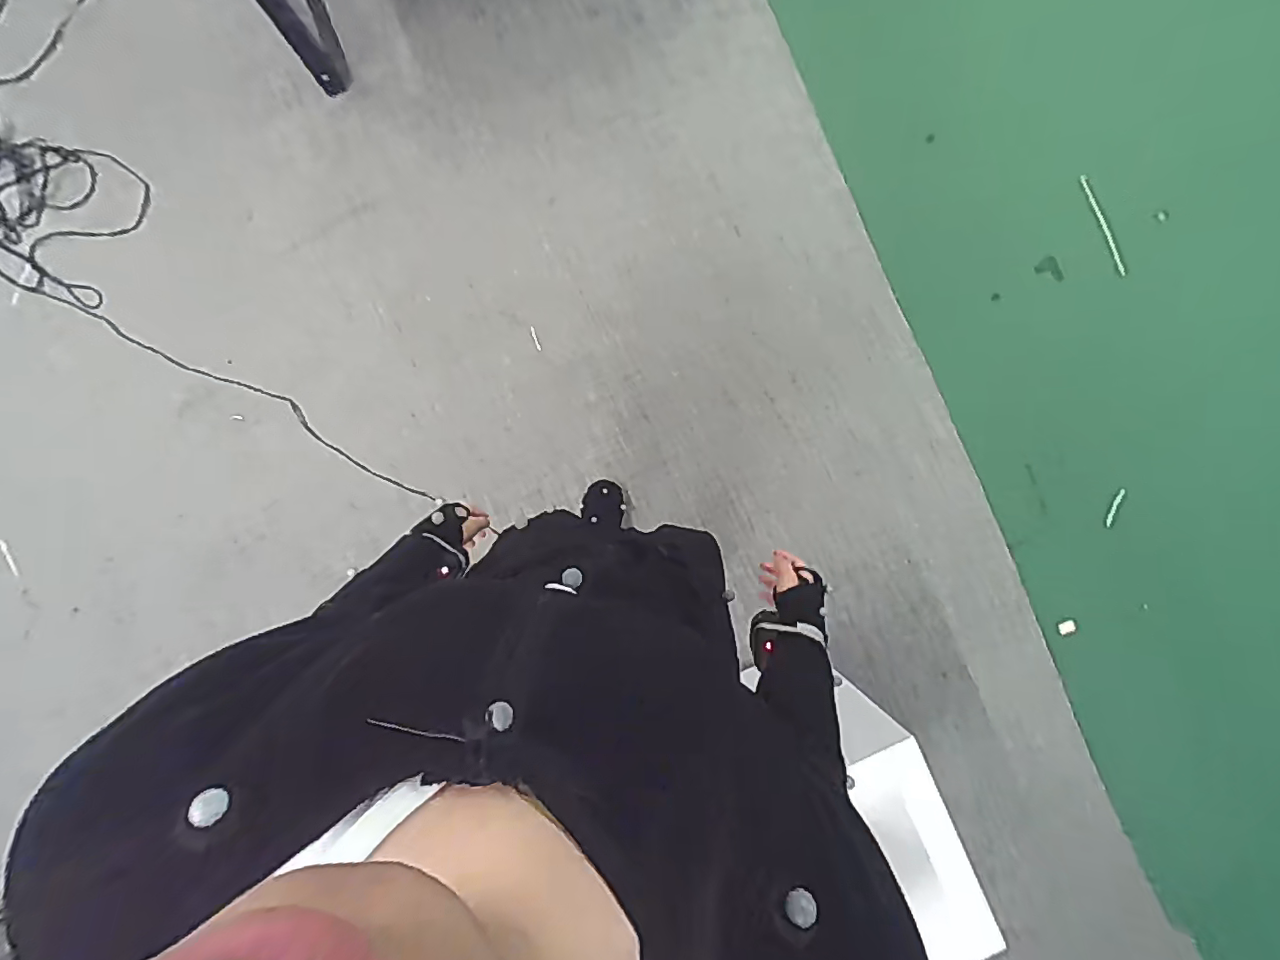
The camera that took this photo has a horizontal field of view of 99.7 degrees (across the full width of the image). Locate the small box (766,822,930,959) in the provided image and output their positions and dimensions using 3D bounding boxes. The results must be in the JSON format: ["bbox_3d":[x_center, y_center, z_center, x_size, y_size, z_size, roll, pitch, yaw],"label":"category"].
[{"bbox_3d":[0.313,0.671,0.816,0.168,0.176,0.179,-24,90,-3],"label":"small box"}]
